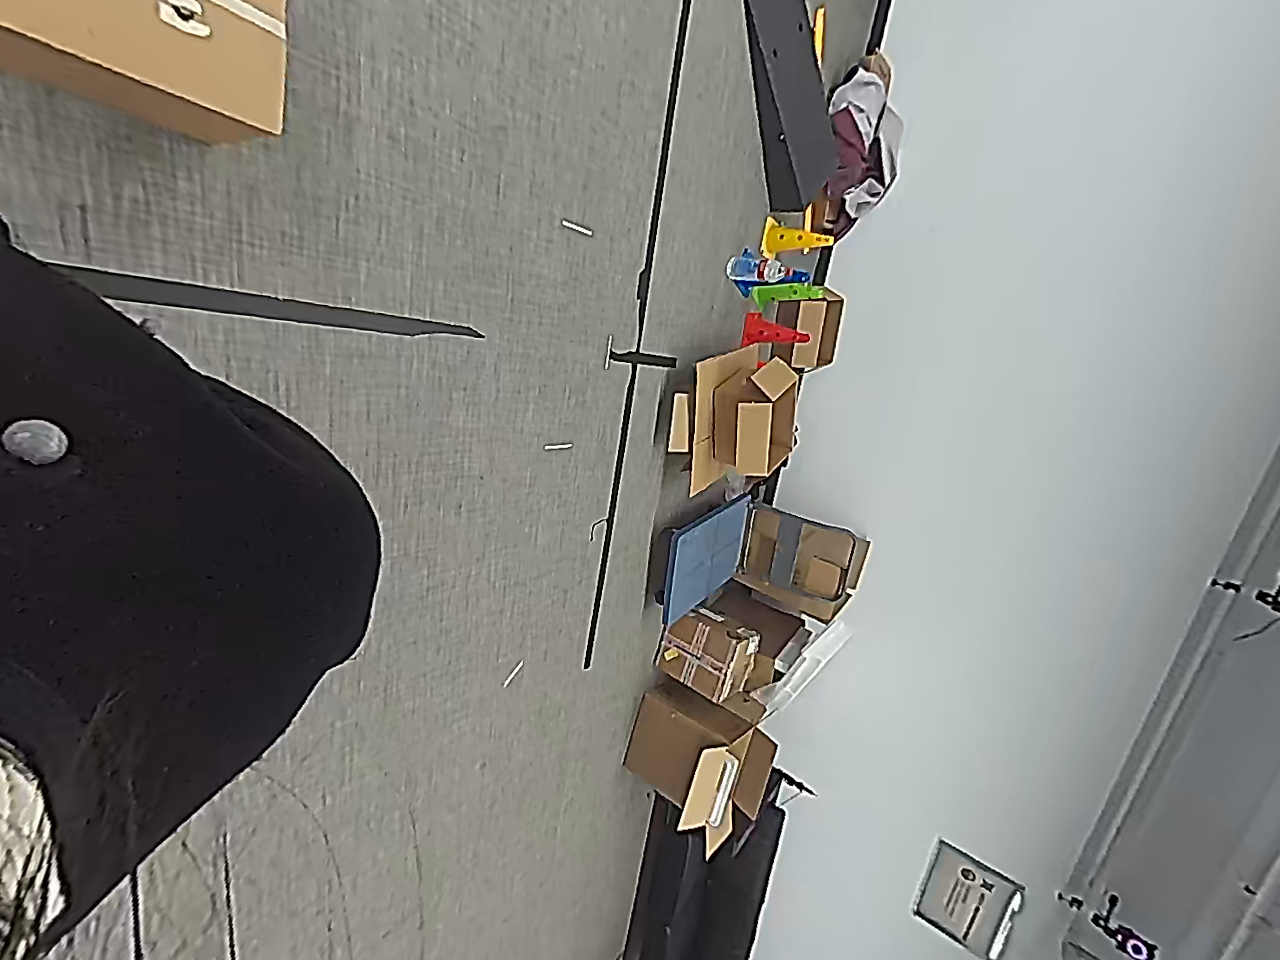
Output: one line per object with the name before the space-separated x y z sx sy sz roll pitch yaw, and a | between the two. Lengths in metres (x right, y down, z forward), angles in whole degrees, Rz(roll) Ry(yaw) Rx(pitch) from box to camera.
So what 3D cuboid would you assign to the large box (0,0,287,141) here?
large box | -0.826 -0.772 0.819 0.408 0.320 0.320 -8 113 -55
